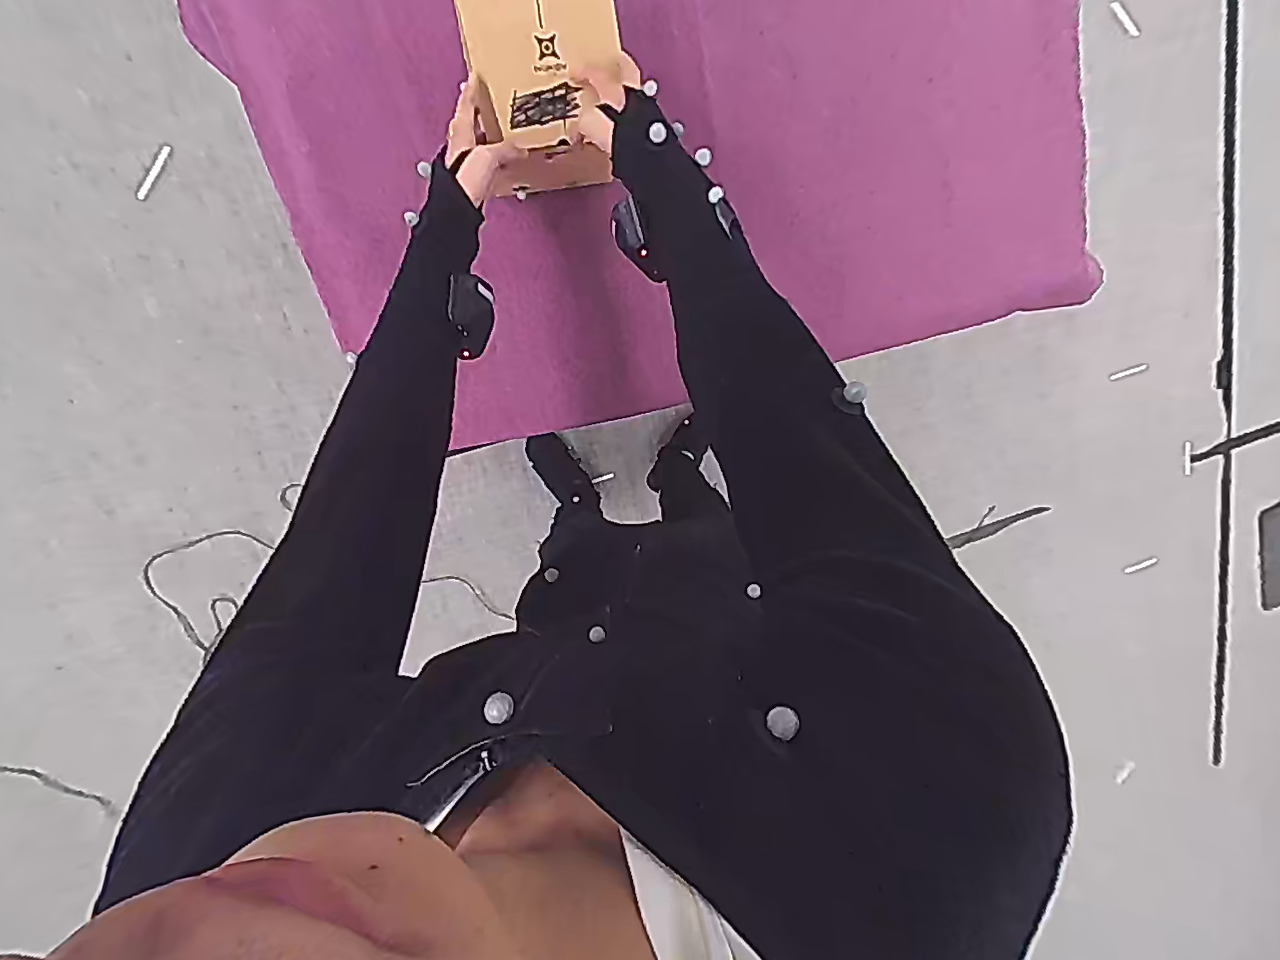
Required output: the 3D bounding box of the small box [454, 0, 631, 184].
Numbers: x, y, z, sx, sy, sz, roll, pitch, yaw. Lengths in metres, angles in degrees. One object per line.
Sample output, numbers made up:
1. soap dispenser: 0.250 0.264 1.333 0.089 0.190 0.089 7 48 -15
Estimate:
1. small box: -0.117 -0.475 0.652 0.168 0.176 0.179 -13 105 -9
